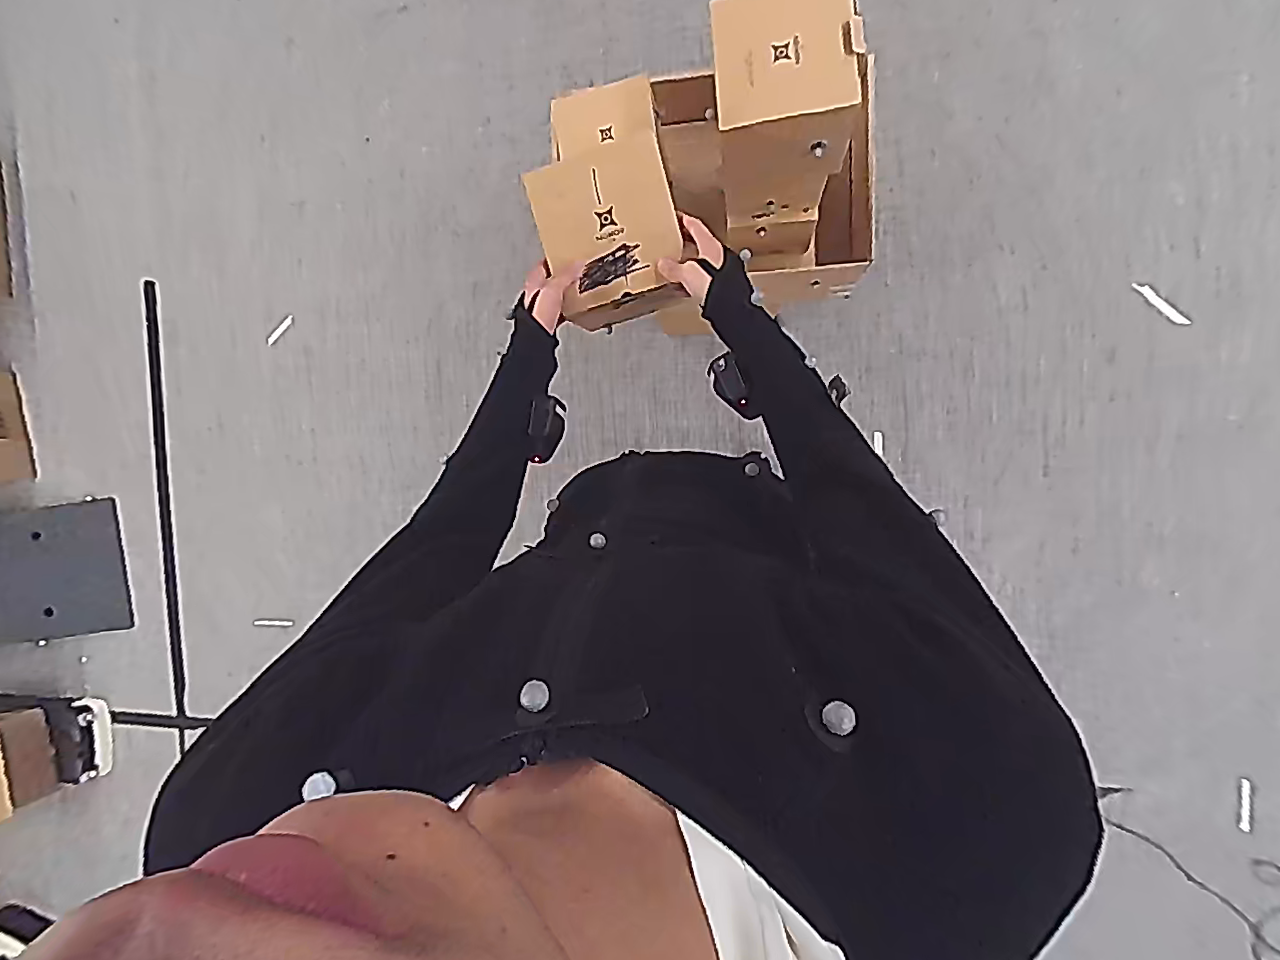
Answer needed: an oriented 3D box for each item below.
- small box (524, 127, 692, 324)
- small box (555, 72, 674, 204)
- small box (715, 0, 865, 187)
[{"bbox_3d":[-0.030,-0.315,0.717,0.168,0.176,0.179,-15,97,8],"label":"small box"},{"bbox_3d":[-0.037,-0.558,0.955,0.168,0.176,0.179,-8,92,11],"label":"small box"},{"bbox_3d":[0.197,-0.535,0.745,0.179,0.176,0.168,-4,91,11],"label":"small box"}]
